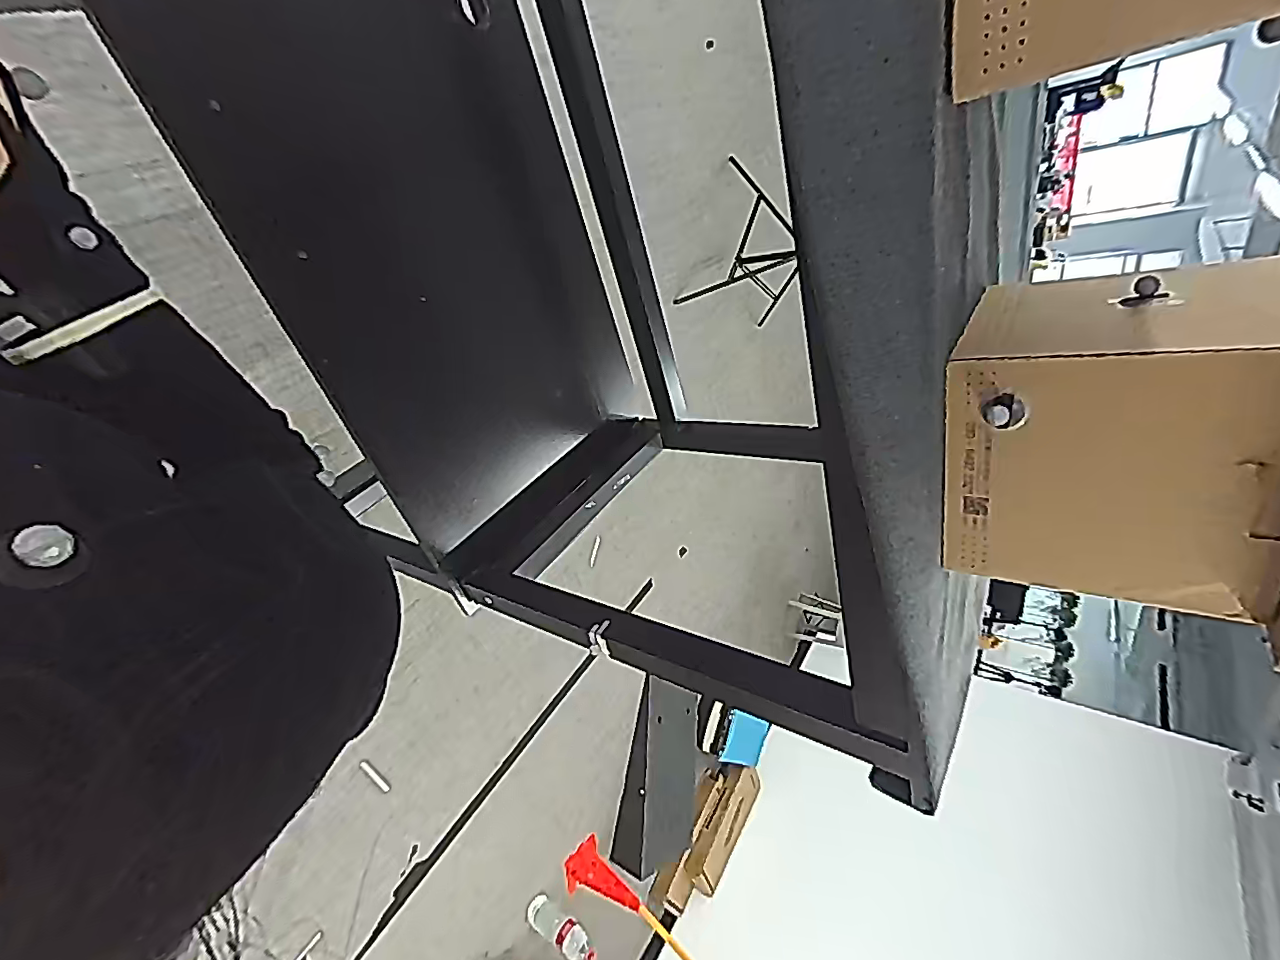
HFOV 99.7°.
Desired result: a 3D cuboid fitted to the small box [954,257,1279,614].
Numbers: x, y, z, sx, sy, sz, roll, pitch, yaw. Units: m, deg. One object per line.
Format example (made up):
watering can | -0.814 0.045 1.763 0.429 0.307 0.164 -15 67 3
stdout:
small box | 0.326 -0.040 0.376 0.179 0.176 0.168 -43 128 -42
